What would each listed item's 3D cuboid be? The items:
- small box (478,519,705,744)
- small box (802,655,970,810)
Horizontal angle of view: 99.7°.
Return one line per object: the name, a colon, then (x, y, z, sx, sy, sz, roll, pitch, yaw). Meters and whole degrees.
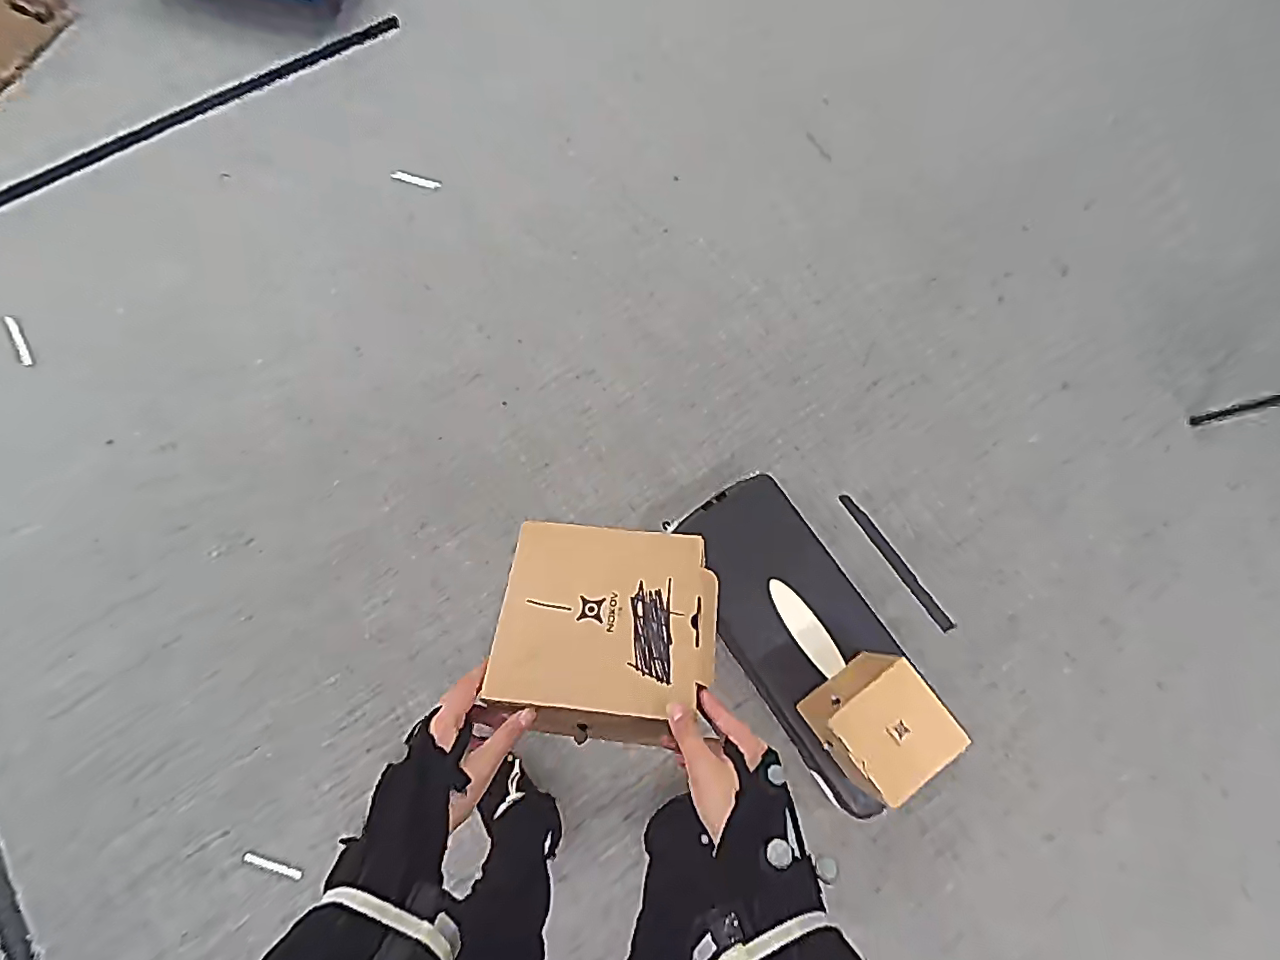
small box: (-0.035, 0.156, 0.534, 0.179, 0.176, 0.168, 5, 58, 3)
small box: (0.420, 0.428, 0.955, 0.179, 0.176, 0.168, -35, 79, -9)
